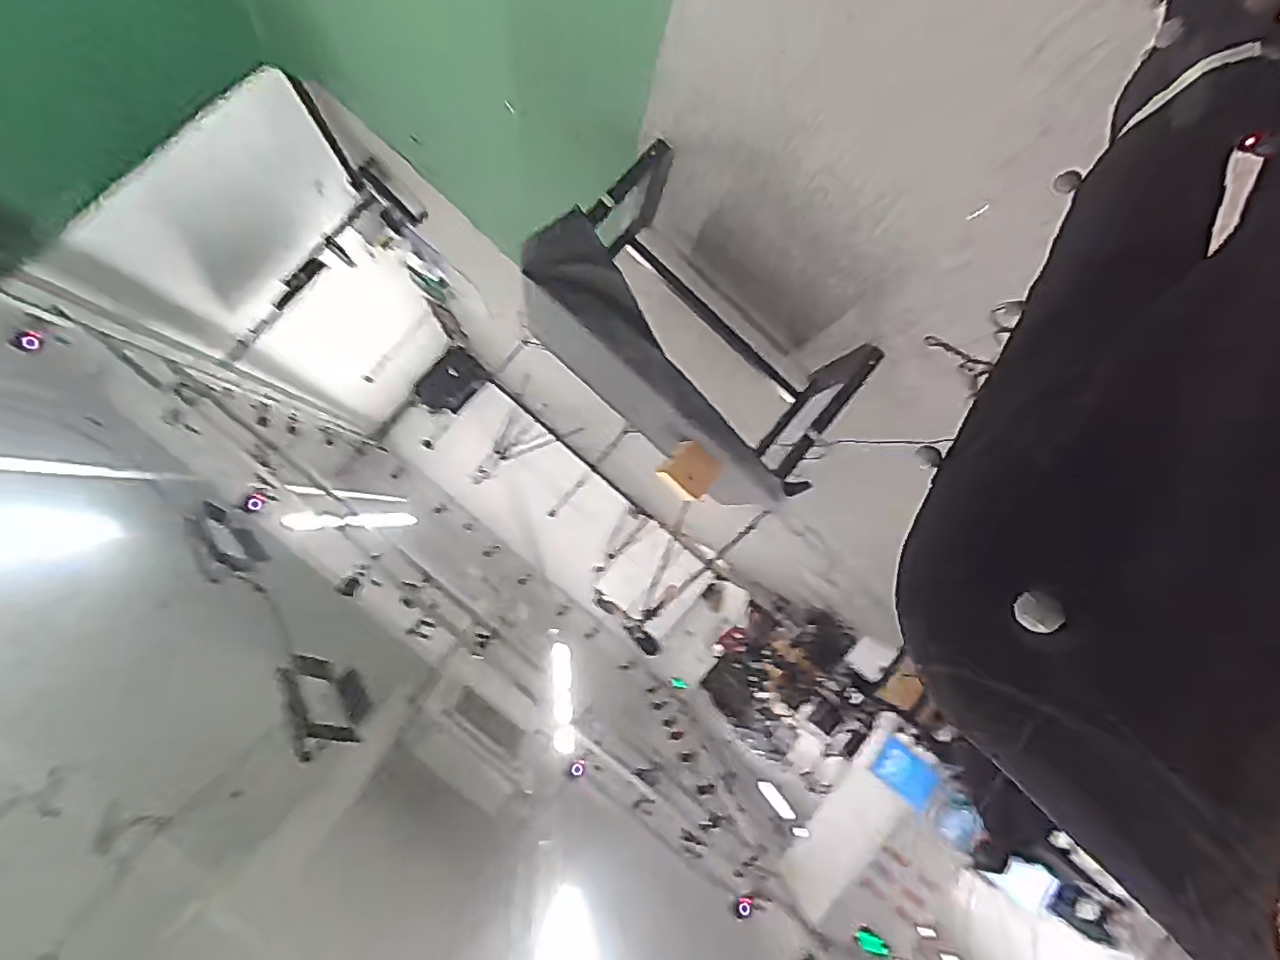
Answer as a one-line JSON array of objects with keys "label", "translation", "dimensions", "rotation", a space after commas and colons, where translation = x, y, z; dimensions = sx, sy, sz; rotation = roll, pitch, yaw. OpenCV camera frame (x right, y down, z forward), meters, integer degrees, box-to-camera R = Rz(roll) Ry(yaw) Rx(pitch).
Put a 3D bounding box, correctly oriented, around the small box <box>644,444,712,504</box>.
[{"label": "small box", "translation": [0.148, -0.028, 2.106], "dimensions": [0.179, 0.176, 0.168], "rotation": [43, 170, -11]}]
